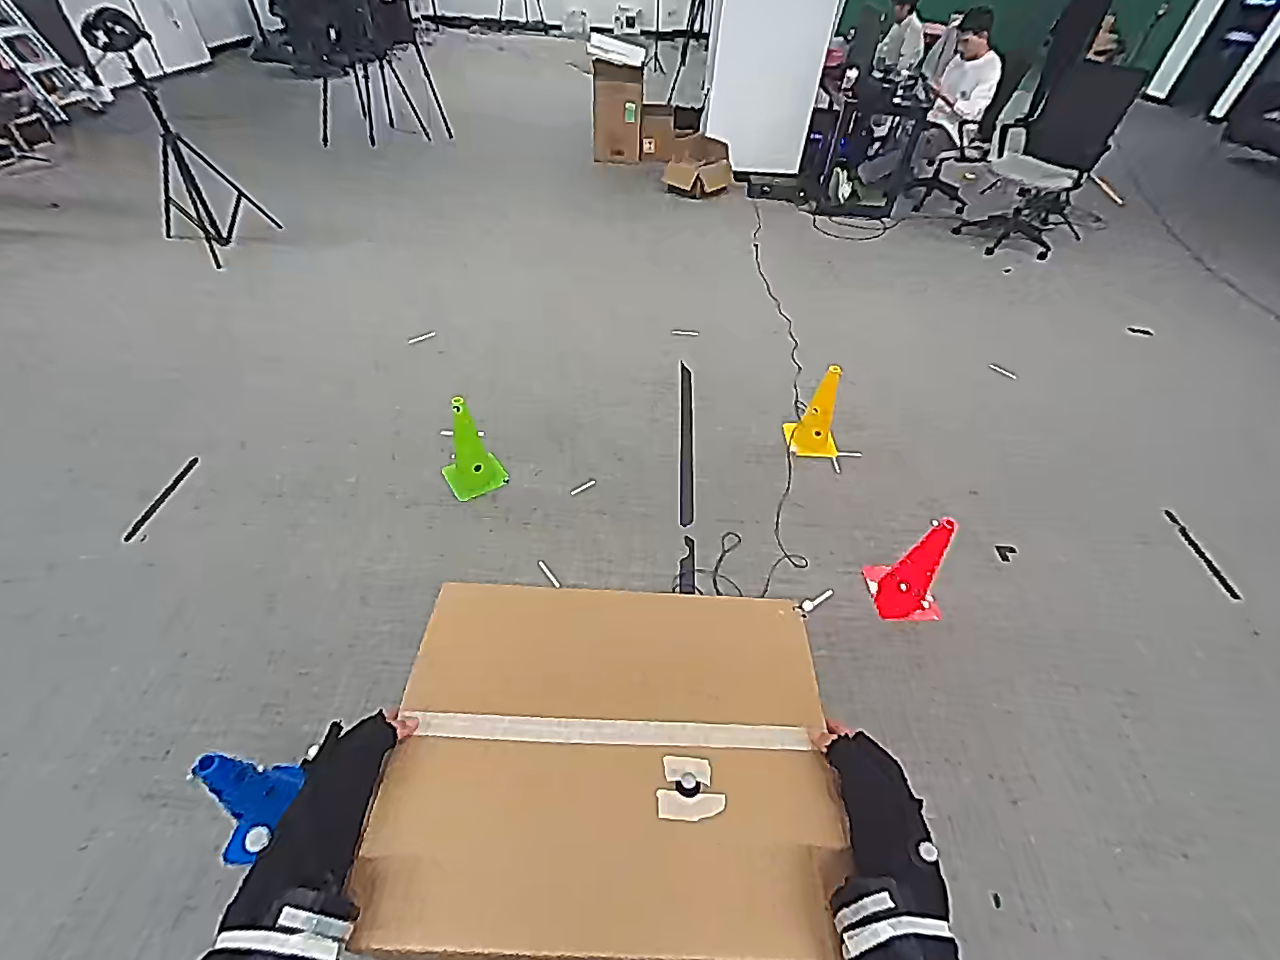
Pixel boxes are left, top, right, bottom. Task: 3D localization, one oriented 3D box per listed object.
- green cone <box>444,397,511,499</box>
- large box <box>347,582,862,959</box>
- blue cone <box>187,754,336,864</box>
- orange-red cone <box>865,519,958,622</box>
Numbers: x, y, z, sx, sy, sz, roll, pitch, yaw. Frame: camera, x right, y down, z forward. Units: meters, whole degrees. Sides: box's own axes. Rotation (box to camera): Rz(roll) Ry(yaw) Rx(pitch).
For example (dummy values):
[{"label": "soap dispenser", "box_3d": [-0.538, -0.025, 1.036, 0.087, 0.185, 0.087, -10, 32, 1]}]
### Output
[{"label": "green cone", "box_3d": [-0.607, -0.142, 1.907, 0.202, 0.368, 0.200, -26, 52, -24]}, {"label": "large box", "box_3d": [-0.033, 0.340, 0.618, 0.408, 0.320, 0.320, 4, 45, -2]}, {"label": "blue cone", "box_3d": [-0.814, 0.655, 1.131, 0.192, 0.380, 0.193, 5, 45, 3]}, {"label": "orange-red cone", "box_3d": [0.855, 0.245, 1.629, 0.198, 0.360, 0.199, 3, 44, -2]}]
